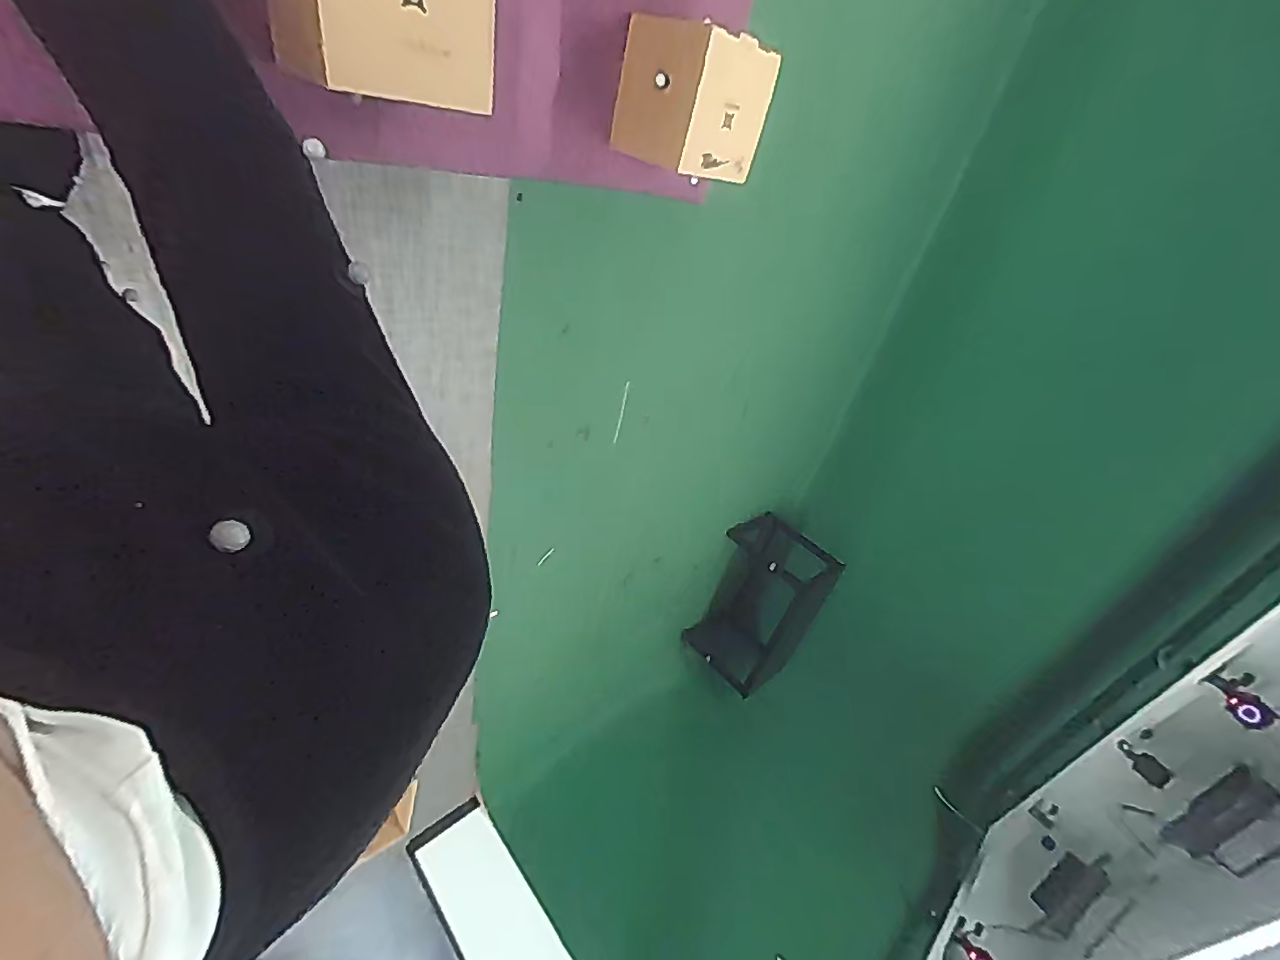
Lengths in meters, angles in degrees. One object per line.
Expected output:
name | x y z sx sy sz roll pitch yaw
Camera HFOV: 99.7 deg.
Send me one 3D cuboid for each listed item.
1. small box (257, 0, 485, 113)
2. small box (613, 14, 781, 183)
small box | -0.266 -0.487 0.527 0.168 0.176 0.179 -18 136 -38
small box | 0.078 -0.582 0.831 0.168 0.176 0.179 -17 136 -38
